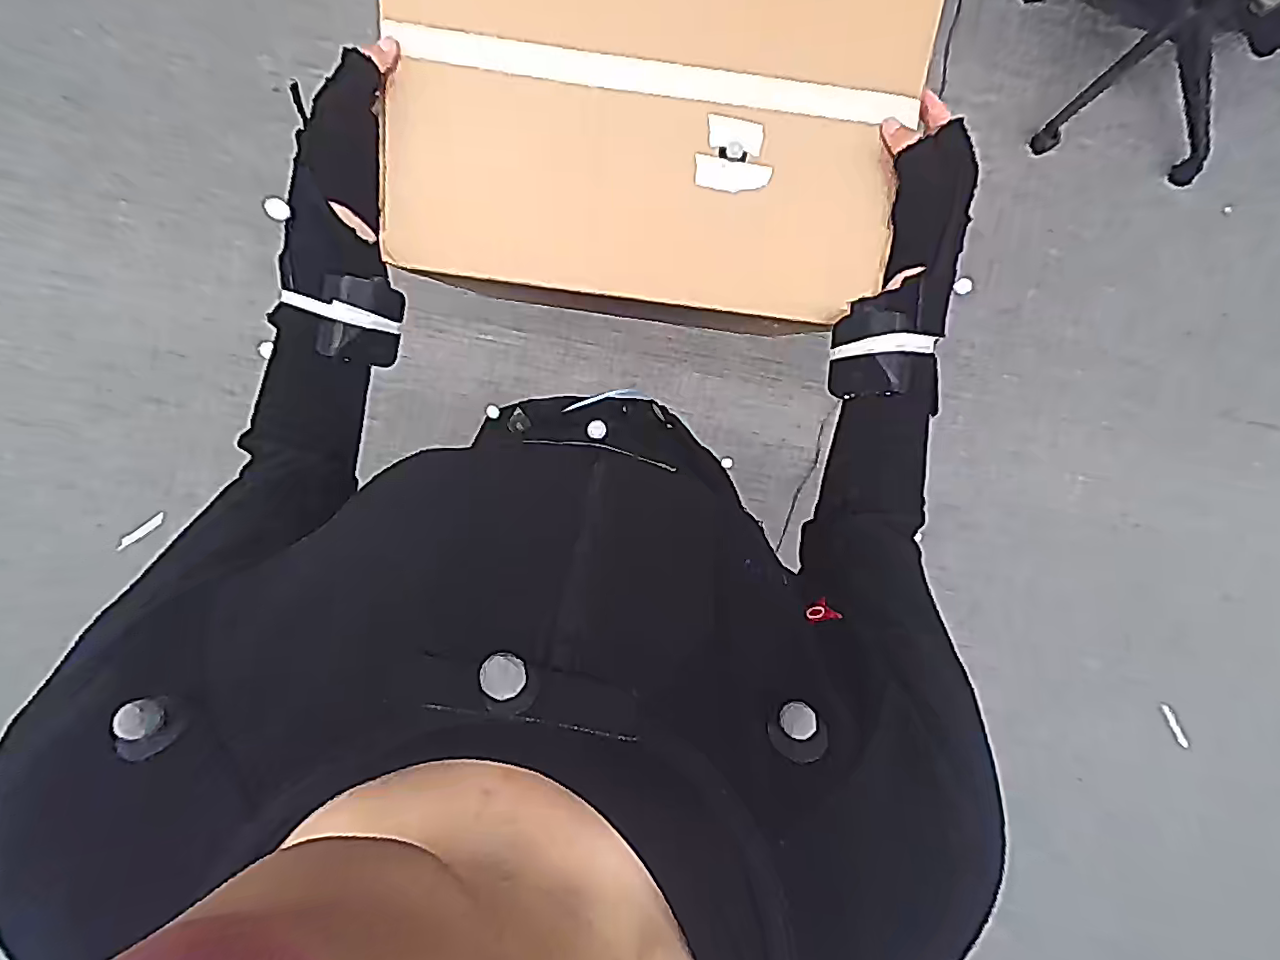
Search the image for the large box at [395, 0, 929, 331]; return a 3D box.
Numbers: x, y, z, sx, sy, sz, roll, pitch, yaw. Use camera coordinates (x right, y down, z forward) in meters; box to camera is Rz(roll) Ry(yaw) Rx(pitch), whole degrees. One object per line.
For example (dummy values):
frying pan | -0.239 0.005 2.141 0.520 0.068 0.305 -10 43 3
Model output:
large box | 0.007 -0.340 0.564 0.408 0.320 0.320 7 105 -3
